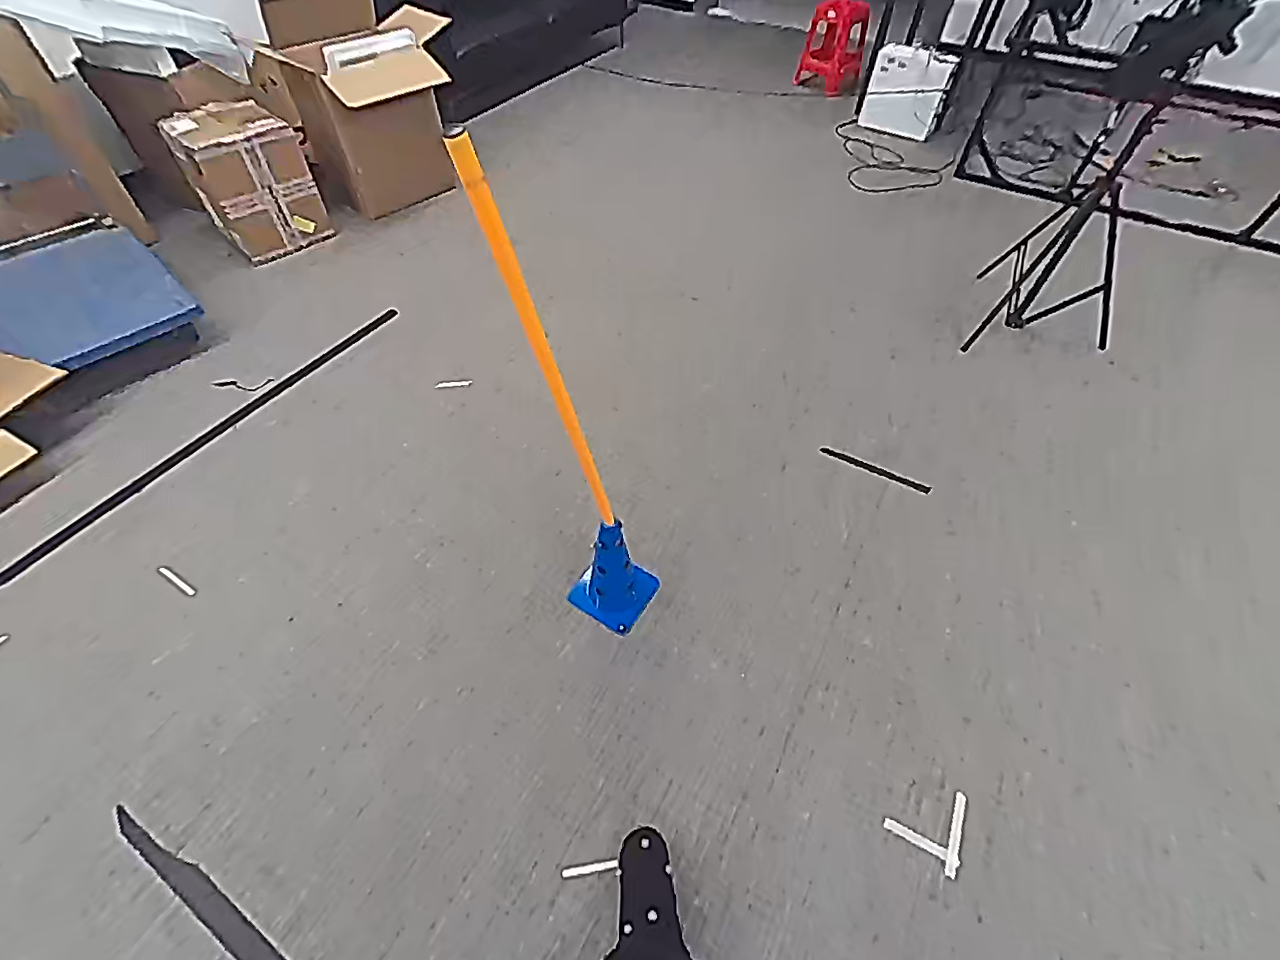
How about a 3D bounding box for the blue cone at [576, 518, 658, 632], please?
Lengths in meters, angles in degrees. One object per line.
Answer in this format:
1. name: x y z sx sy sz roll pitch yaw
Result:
1. blue cone: -0.062 0.210 1.381 0.192 0.380 0.193 29 58 19
